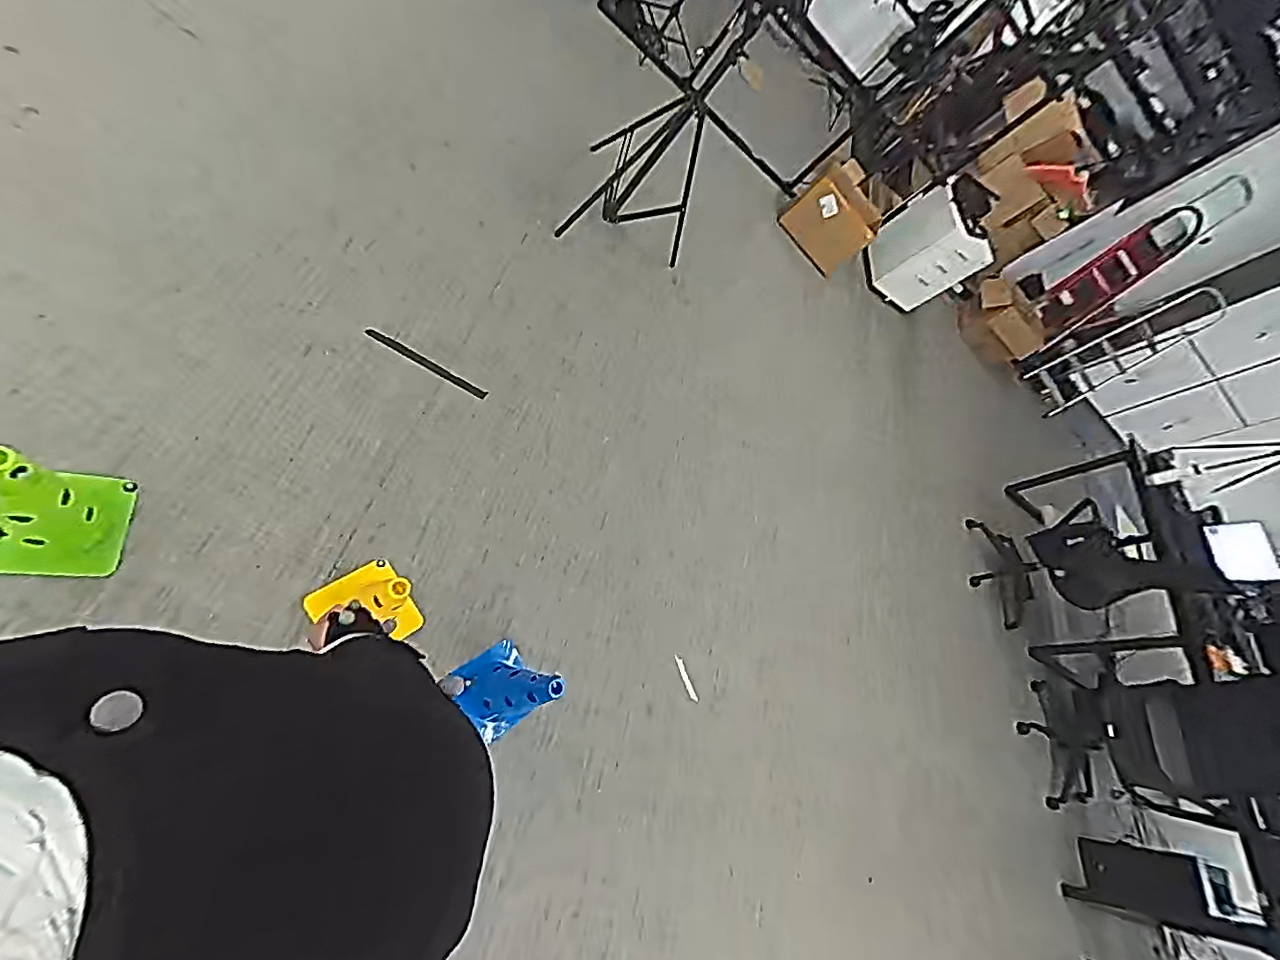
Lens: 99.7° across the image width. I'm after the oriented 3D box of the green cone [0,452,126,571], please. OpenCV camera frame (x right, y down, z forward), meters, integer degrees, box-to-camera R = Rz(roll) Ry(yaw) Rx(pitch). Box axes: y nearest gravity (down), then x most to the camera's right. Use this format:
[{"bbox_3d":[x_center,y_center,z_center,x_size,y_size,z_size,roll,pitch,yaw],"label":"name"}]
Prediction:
[{"bbox_3d":[-1.019,0.015,0.881,0.200,0.368,0.202,9,67,-34],"label":"green cone"}]
